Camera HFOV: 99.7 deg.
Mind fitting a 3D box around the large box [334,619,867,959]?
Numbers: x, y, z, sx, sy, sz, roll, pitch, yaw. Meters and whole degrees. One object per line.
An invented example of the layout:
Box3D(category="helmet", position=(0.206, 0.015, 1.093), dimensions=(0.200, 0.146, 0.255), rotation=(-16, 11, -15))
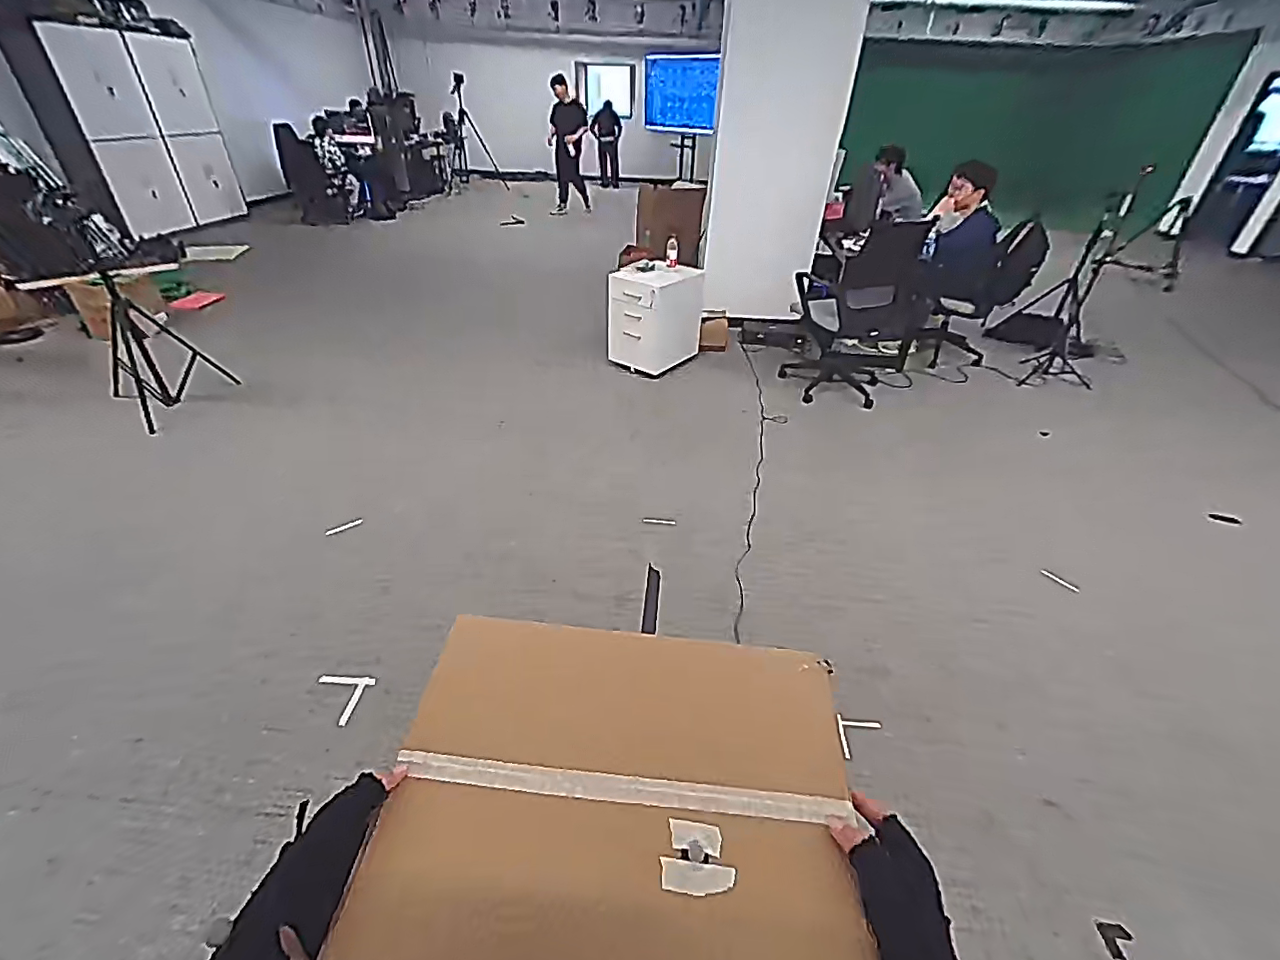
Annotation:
Box3D(category="large box", position=(-0.025, 0.384, 0.592), dimensions=(0.408, 0.320, 0.320), rotation=(6, 43, 2))
